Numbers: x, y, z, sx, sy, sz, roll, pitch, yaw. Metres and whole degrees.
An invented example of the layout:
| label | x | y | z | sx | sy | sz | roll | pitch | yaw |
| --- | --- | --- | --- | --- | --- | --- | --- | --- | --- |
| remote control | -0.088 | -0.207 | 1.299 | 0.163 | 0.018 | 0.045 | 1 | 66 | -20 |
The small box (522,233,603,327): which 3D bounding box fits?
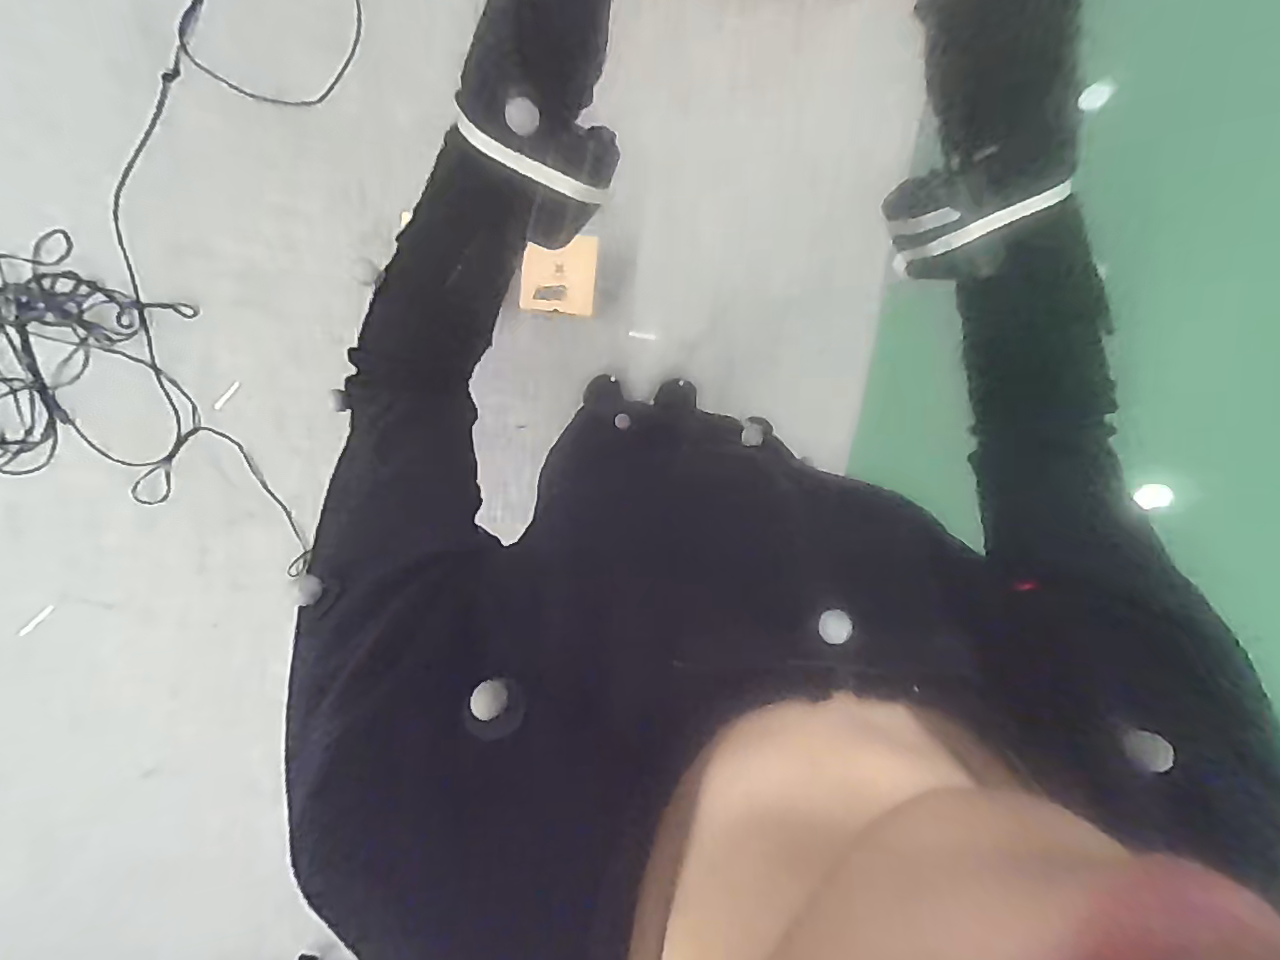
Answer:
| label | x | y | z | sx | sy | sz | roll | pitch | yaw |
| --- | --- | --- | --- | --- | --- | --- | --- | --- | --- |
| small box | -0.180 | -0.470 | 1.297 | 0.168 | 0.176 | 0.179 | 7 | 100 | -2 |
